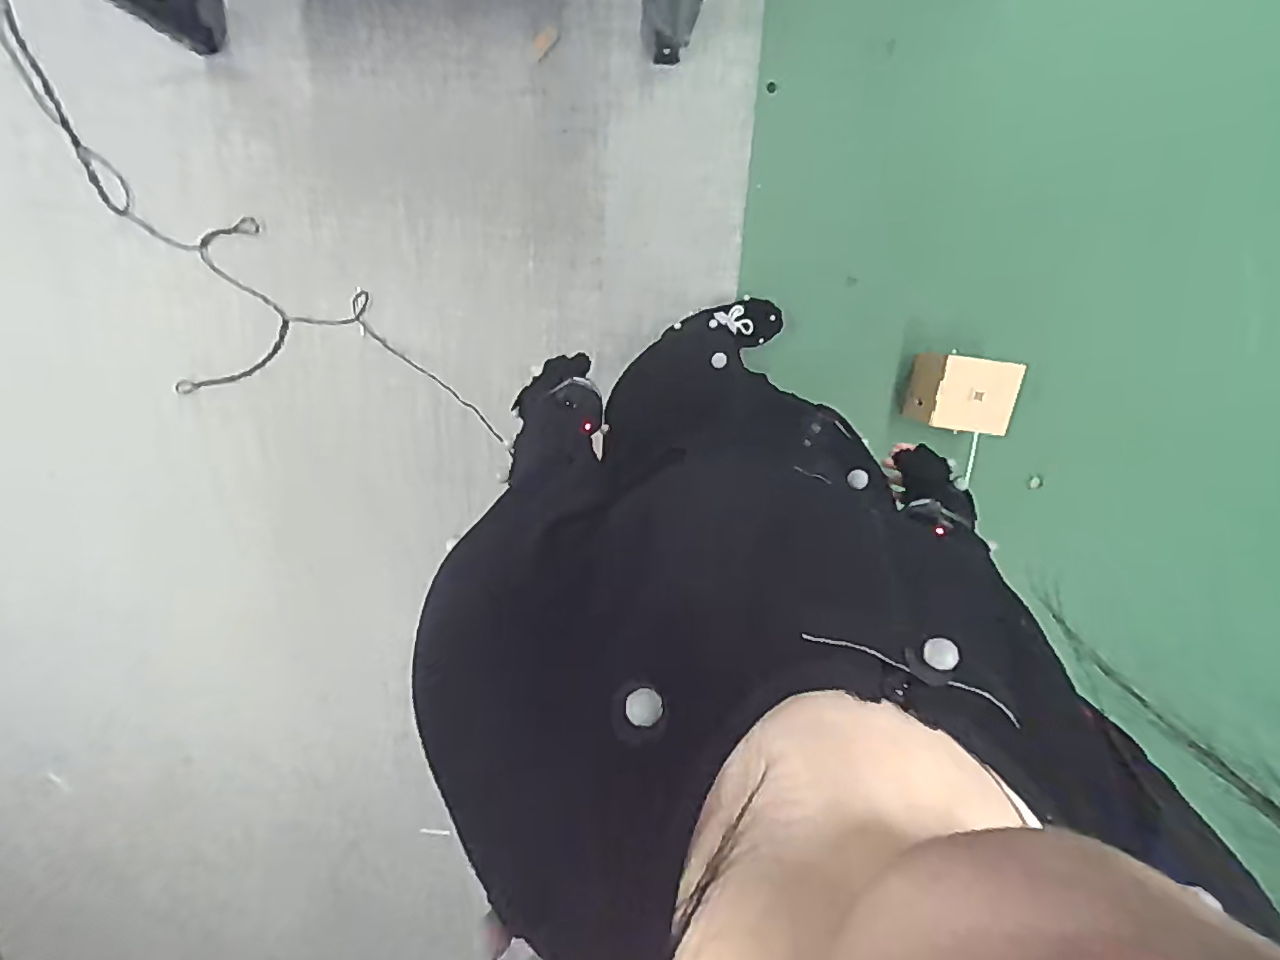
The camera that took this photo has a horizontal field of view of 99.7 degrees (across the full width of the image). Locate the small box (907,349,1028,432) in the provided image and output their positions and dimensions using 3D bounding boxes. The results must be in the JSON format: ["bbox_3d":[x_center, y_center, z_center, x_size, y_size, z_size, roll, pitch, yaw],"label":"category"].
[{"bbox_3d":[0.777,-0.221,1.308,0.179,0.176,0.168,9,106,2],"label":"small box"}]
